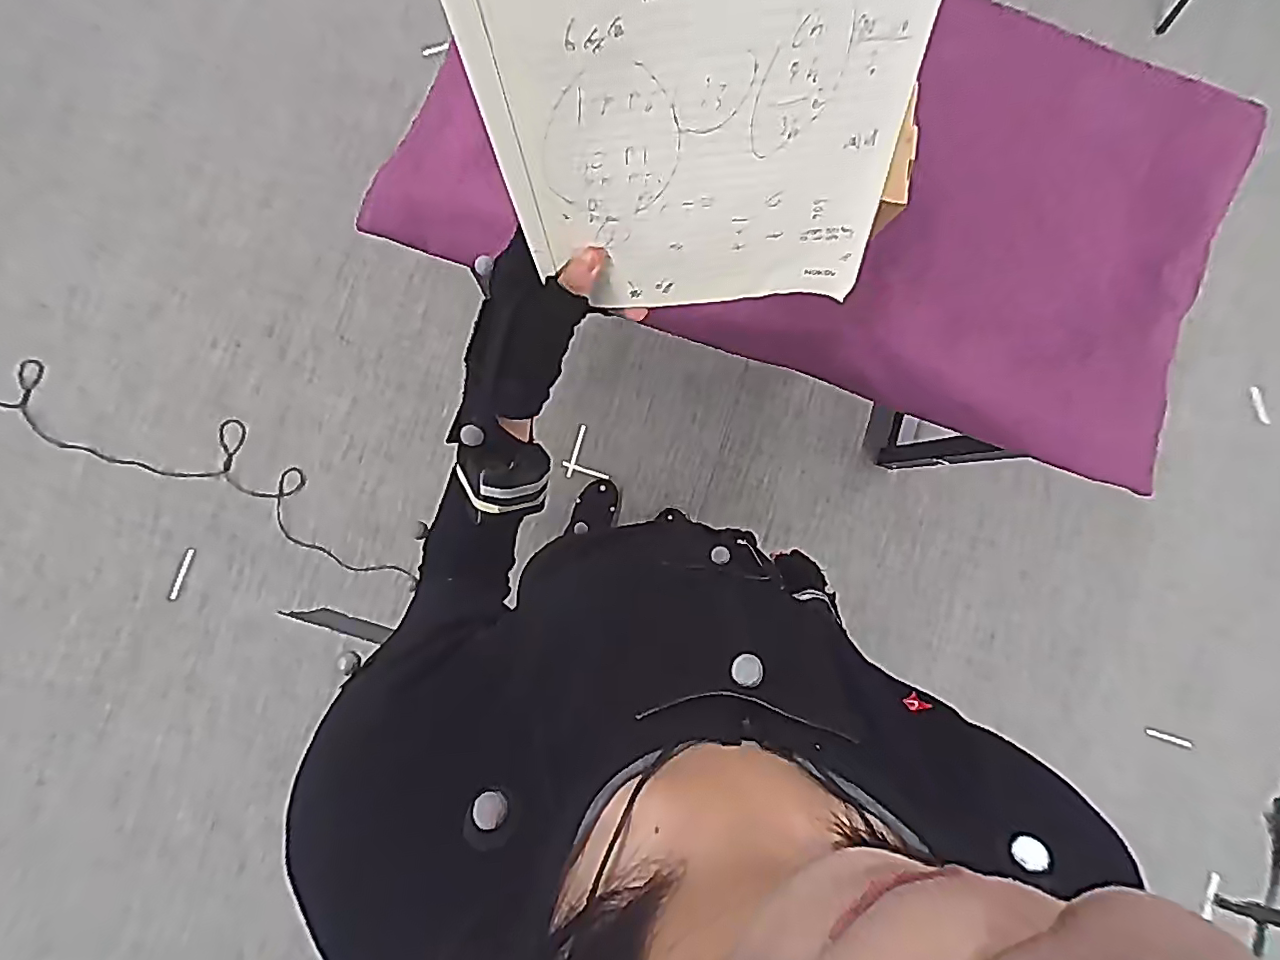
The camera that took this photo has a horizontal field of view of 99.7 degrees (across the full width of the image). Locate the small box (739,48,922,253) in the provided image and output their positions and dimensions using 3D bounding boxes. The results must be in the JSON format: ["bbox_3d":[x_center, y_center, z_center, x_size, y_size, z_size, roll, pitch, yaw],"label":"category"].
[{"bbox_3d":[0.252,-0.436,0.747,0.179,0.176,0.168,7,87,-5],"label":"small box"}]
